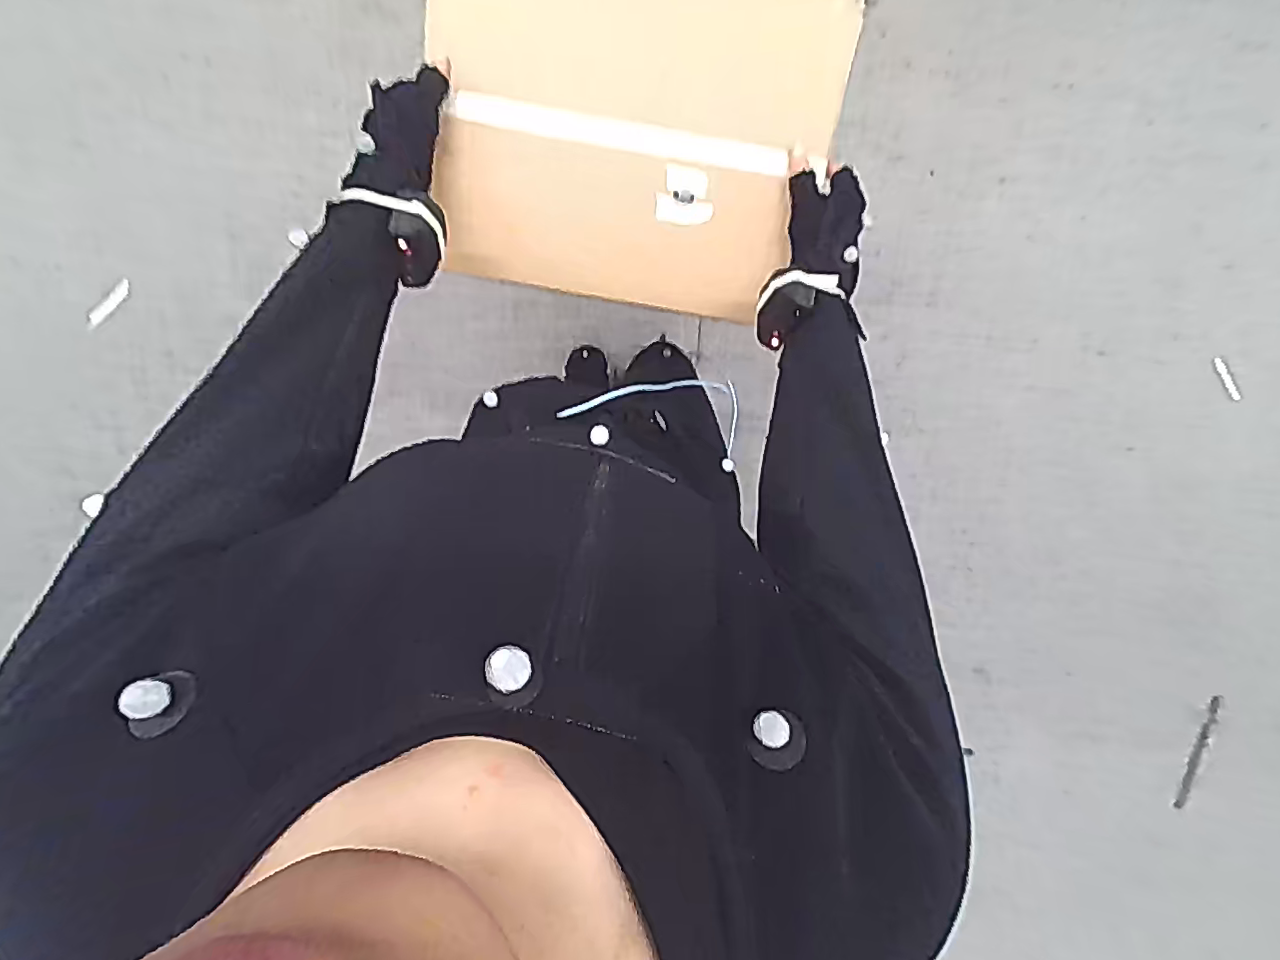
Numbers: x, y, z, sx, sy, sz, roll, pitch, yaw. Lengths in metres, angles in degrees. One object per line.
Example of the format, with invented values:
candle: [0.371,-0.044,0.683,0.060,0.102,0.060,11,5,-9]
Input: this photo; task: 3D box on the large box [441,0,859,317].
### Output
large box: [-0.007,-0.403,0.702,0.408,0.320,0.320,9,109,-4]
